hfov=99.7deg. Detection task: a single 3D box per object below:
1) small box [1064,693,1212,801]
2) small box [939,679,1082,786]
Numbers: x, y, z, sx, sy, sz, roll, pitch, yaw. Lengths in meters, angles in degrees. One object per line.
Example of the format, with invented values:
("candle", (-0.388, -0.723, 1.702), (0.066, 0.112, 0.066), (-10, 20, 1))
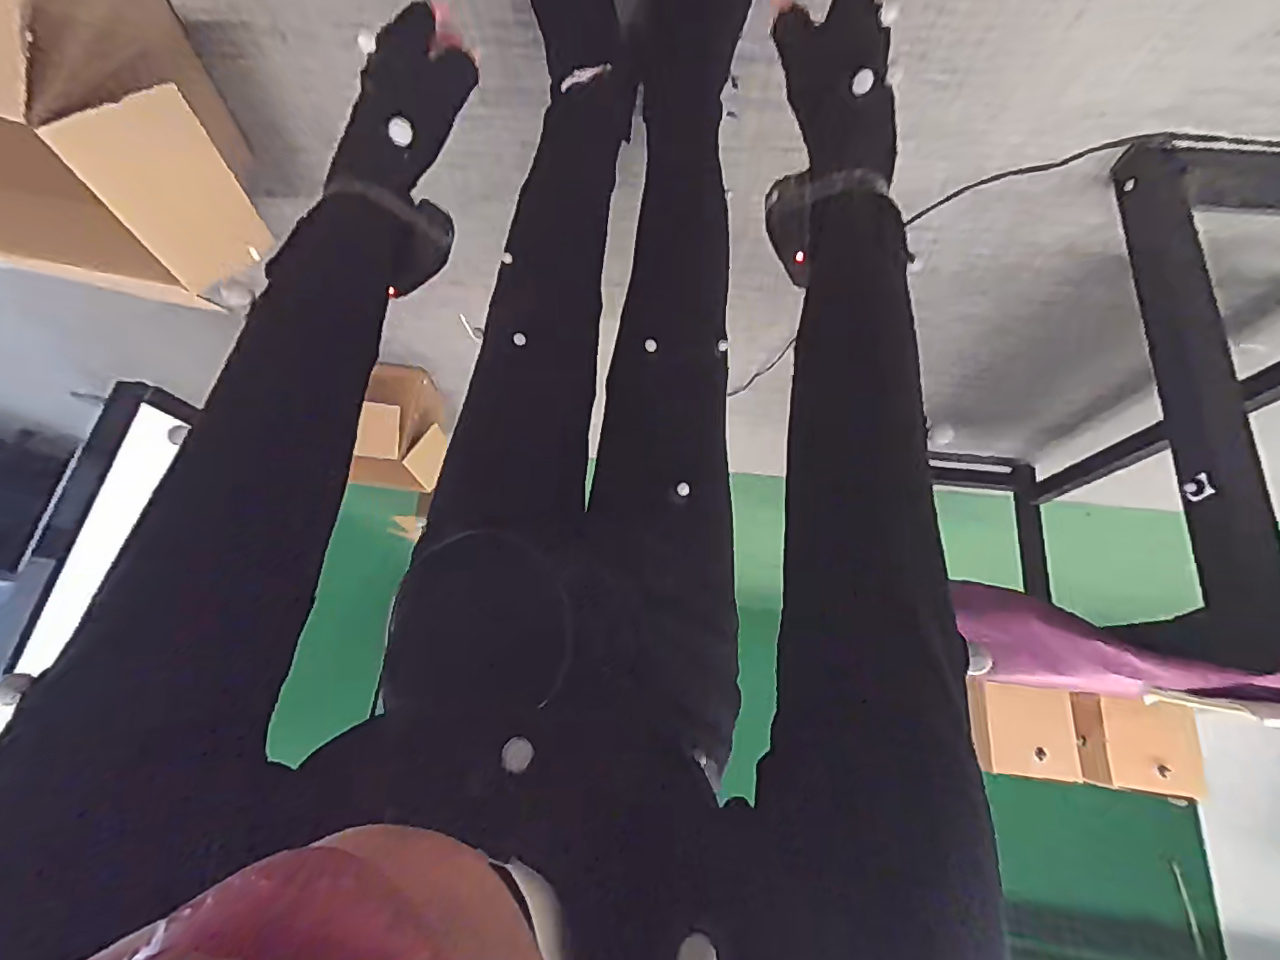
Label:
("small box", (0.973, 0.529, 1.095), (0.179, 0.176, 0.168), (5, 160, 5))
("small box", (0.745, 0.507, 1.106), (0.179, 0.176, 0.168), (7, 160, -1))
